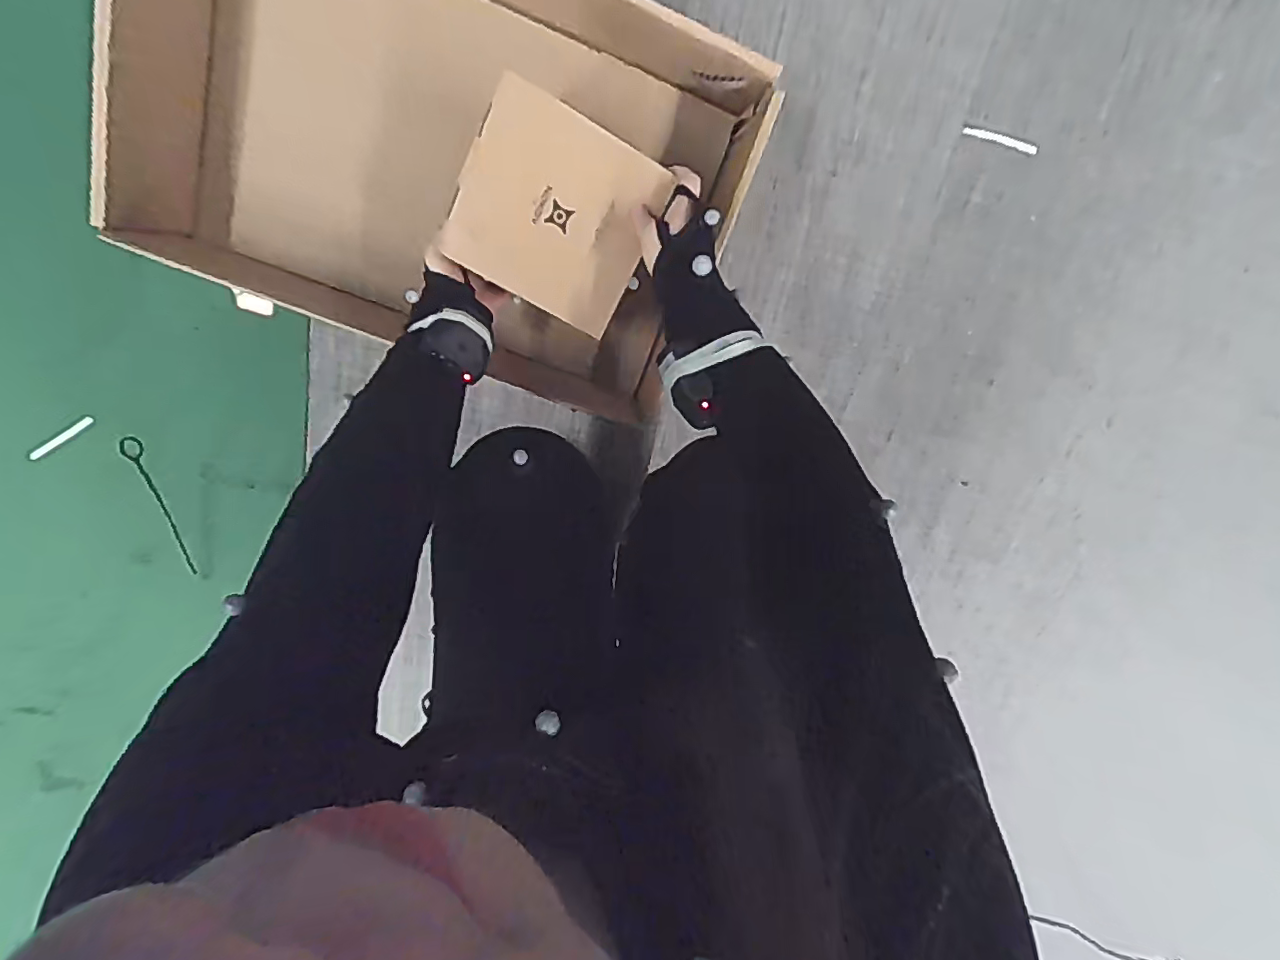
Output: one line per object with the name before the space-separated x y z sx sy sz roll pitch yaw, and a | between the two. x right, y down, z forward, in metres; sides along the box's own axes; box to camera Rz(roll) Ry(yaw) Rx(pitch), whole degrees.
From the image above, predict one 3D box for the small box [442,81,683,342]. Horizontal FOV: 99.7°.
small box | -0.077 -0.268 0.579 0.179 0.176 0.168 27 107 -13
